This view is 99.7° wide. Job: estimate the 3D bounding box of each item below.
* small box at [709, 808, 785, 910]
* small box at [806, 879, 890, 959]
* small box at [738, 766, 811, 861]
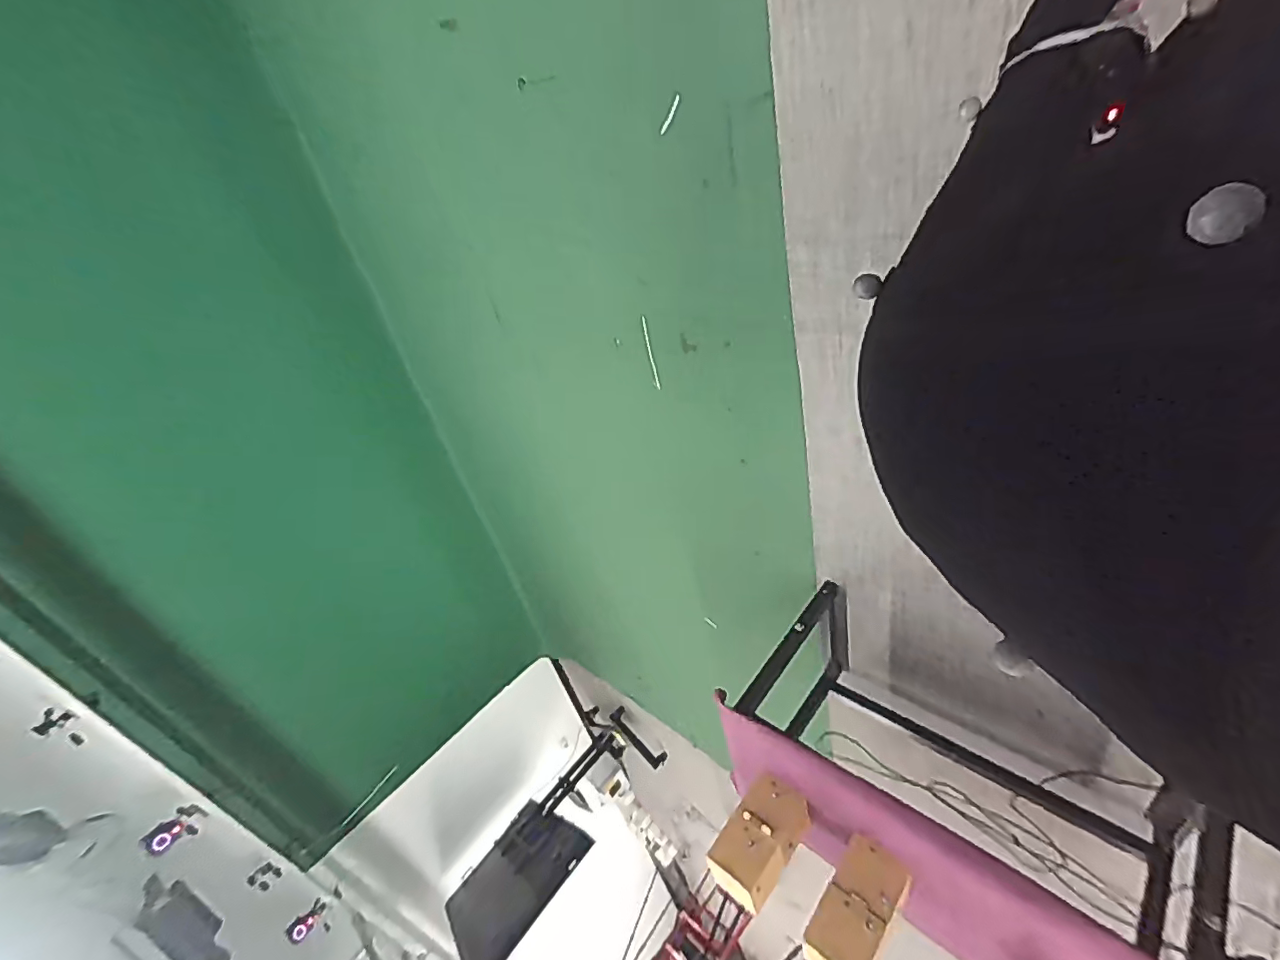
[{"bbox_3d":[0.346,1.194,1.715,0.168,0.176,0.179,16,134,42],"label":"small box"},{"bbox_3d":[0.578,1.260,1.498,0.168,0.176,0.179,18,137,40],"label":"small box"},{"bbox_3d":[0.453,1.103,1.798,0.168,0.176,0.179,15,133,41],"label":"small box"}]
